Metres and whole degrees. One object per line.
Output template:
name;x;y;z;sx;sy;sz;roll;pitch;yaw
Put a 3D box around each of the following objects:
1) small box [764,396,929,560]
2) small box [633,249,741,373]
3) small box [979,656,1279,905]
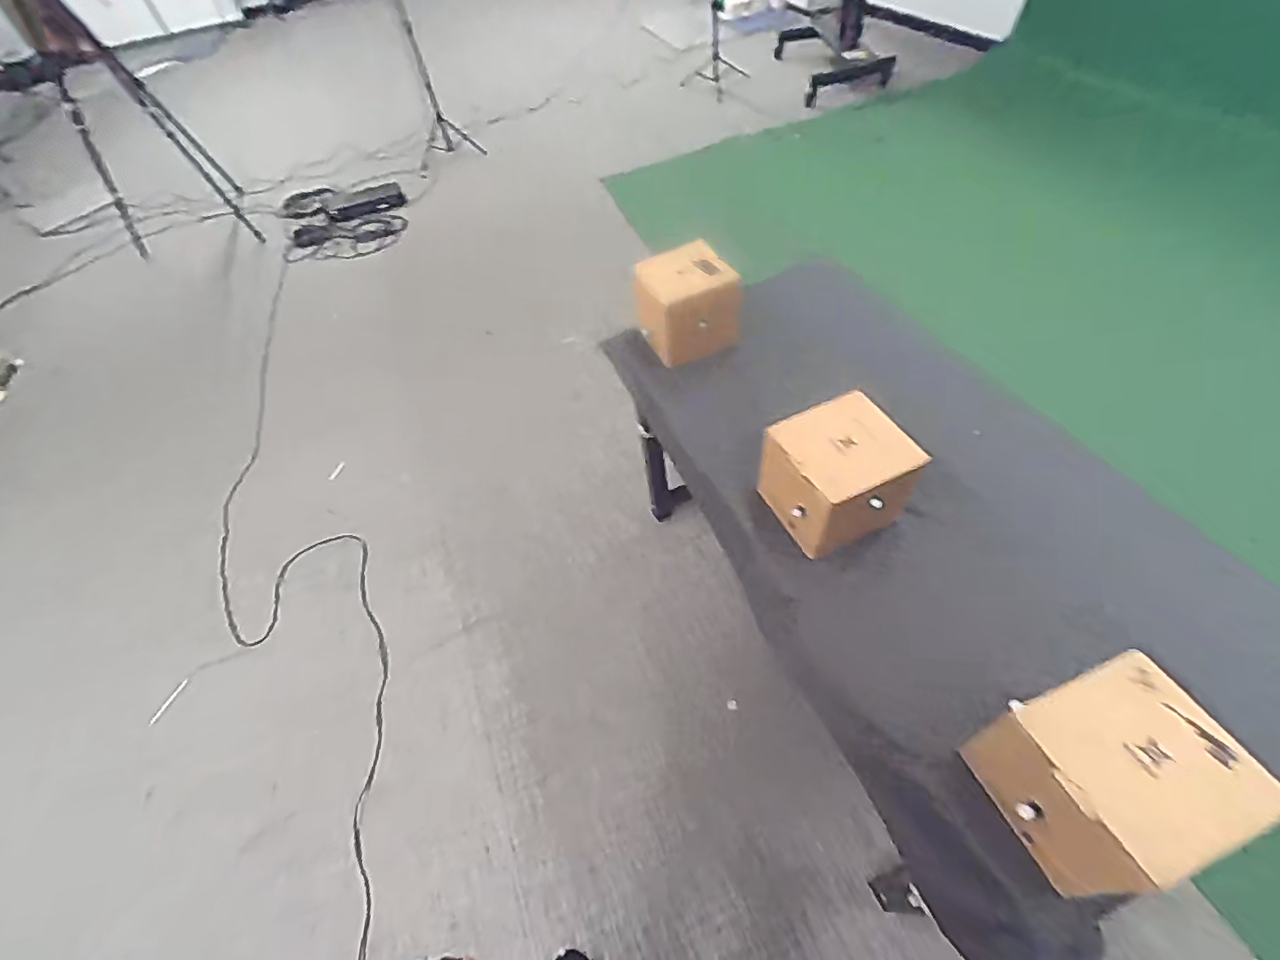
small box;0.313;0.001;0.867;0.179;0.176;0.168;-22;54;-12
small box;0.101;-0.364;1.175;0.179;0.176;0.168;-23;53;-10
small box;0.505;0.325;0.581;0.179;0.176;0.168;-20;50;-9
